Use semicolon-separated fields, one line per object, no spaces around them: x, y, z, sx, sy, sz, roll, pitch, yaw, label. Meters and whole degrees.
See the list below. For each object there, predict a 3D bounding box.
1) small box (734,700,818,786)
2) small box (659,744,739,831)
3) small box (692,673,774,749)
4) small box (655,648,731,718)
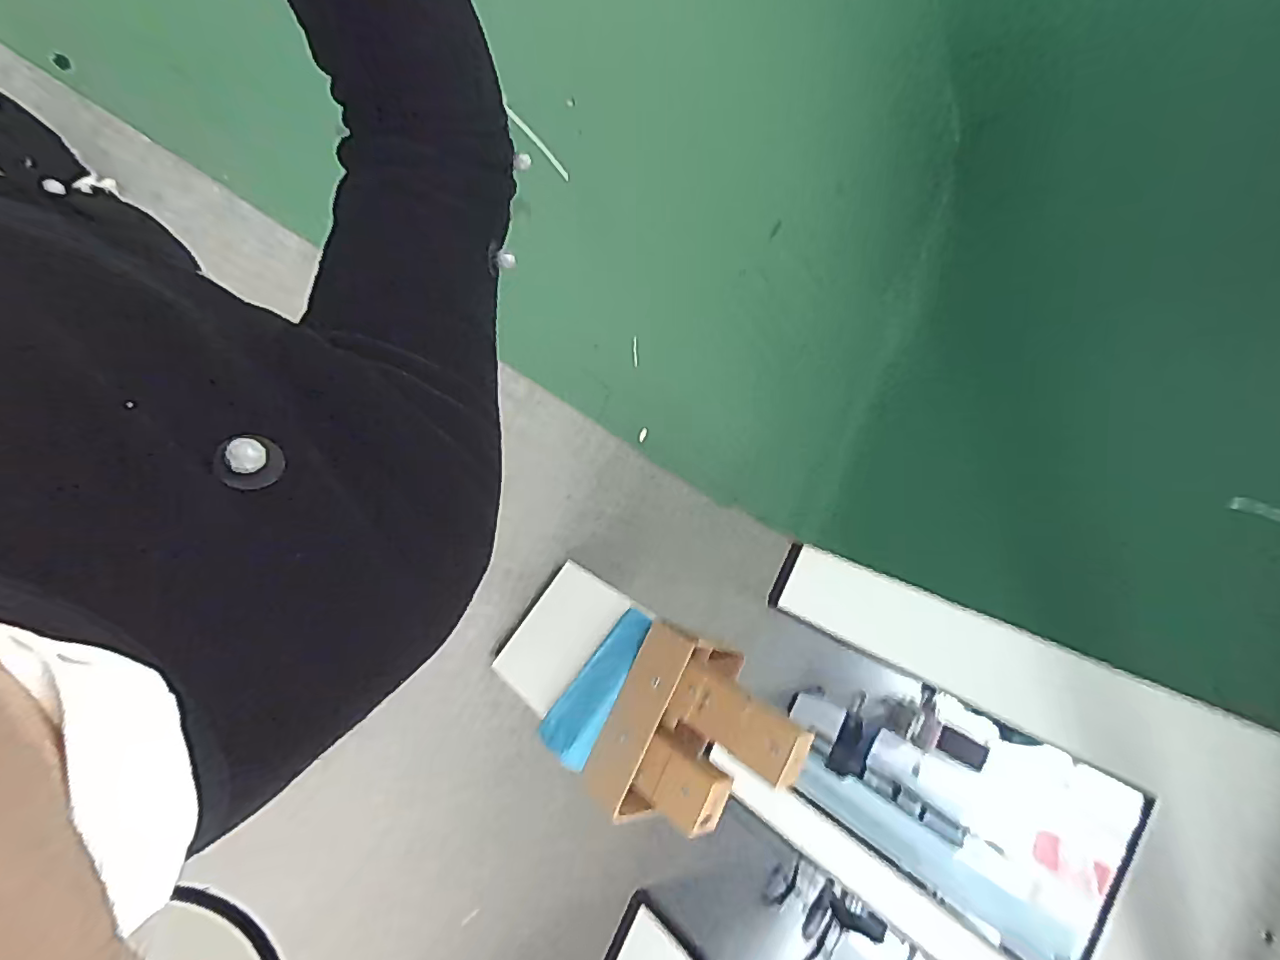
0.415;0.796;1.655;0.168;0.176;0.179;31;84;-49;small box
0.184;0.984;1.742;0.168;0.176;0.179;30;83;-50;small box
0.302;0.748;1.765;0.179;0.176;0.168;30;85;-49;small box
0.185;0.698;1.866;0.179;0.176;0.168;31;84;-50;small box
